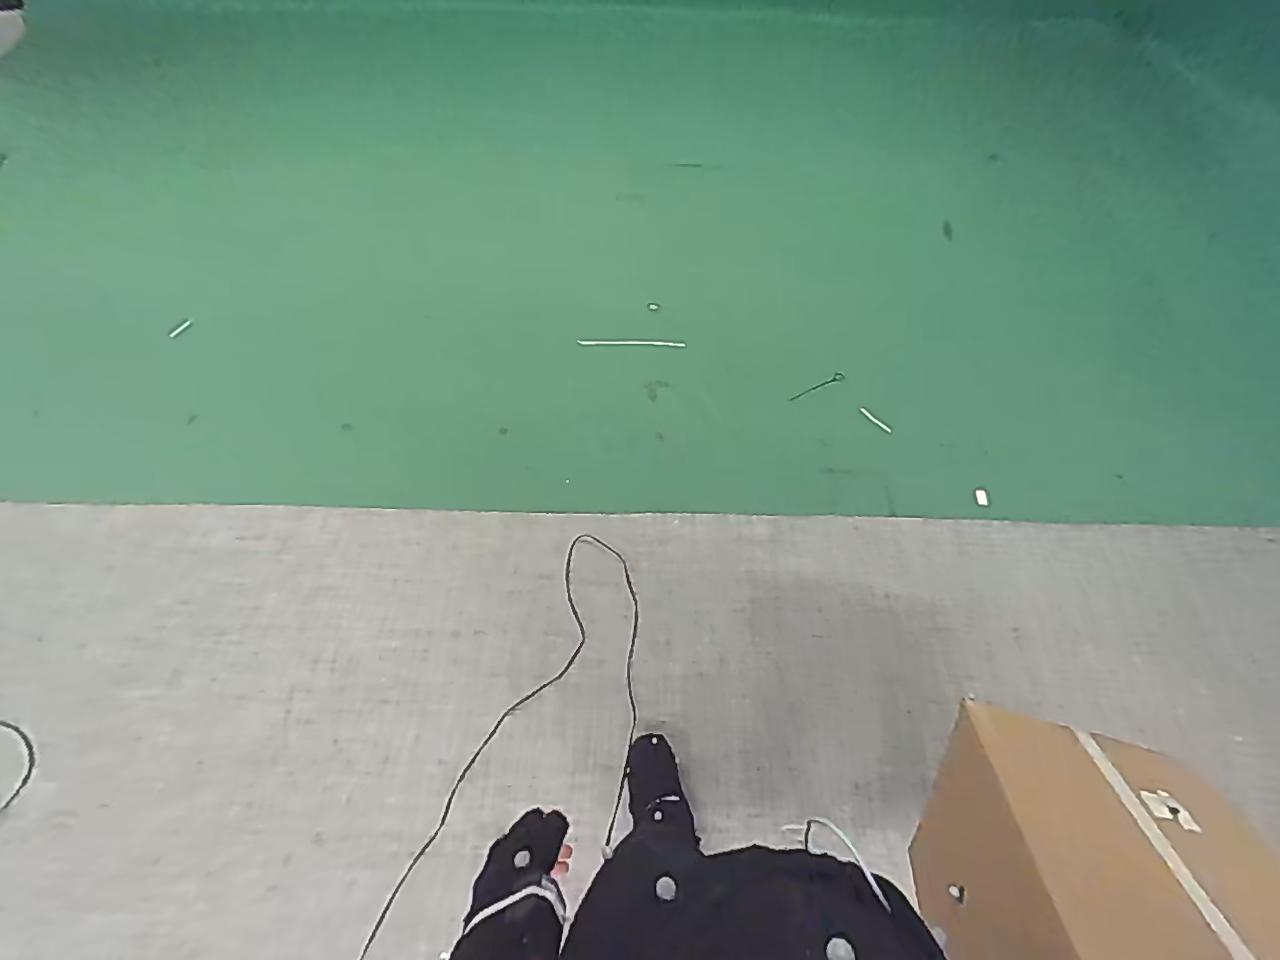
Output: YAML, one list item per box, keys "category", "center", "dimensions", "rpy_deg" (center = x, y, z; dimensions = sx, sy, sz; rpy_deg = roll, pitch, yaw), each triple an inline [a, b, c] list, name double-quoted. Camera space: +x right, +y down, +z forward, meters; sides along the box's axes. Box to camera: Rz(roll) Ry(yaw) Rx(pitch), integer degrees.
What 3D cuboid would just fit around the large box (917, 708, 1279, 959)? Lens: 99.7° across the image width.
- category: "large box"
  center: [0.579, 0.571, 0.665]
  dimensions: [0.320, 0.408, 0.320]
  rpy_deg: [13, 106, 14]
